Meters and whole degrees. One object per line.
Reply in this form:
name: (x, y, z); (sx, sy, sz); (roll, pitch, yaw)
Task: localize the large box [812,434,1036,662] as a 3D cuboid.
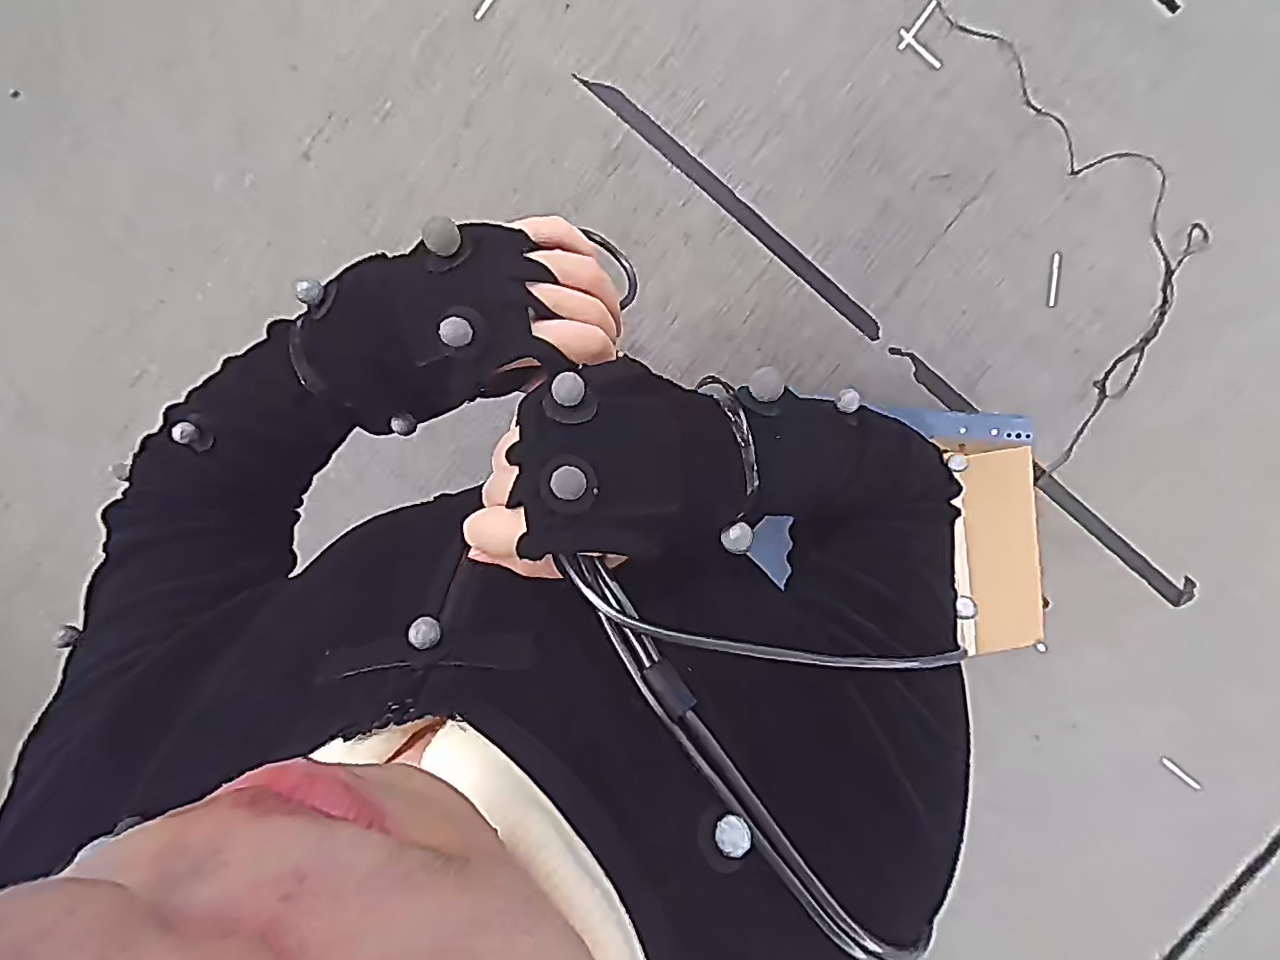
large box: (0.605, 0.125, 1.198); (0.320, 0.320, 0.408); (-9, 98, 0)
